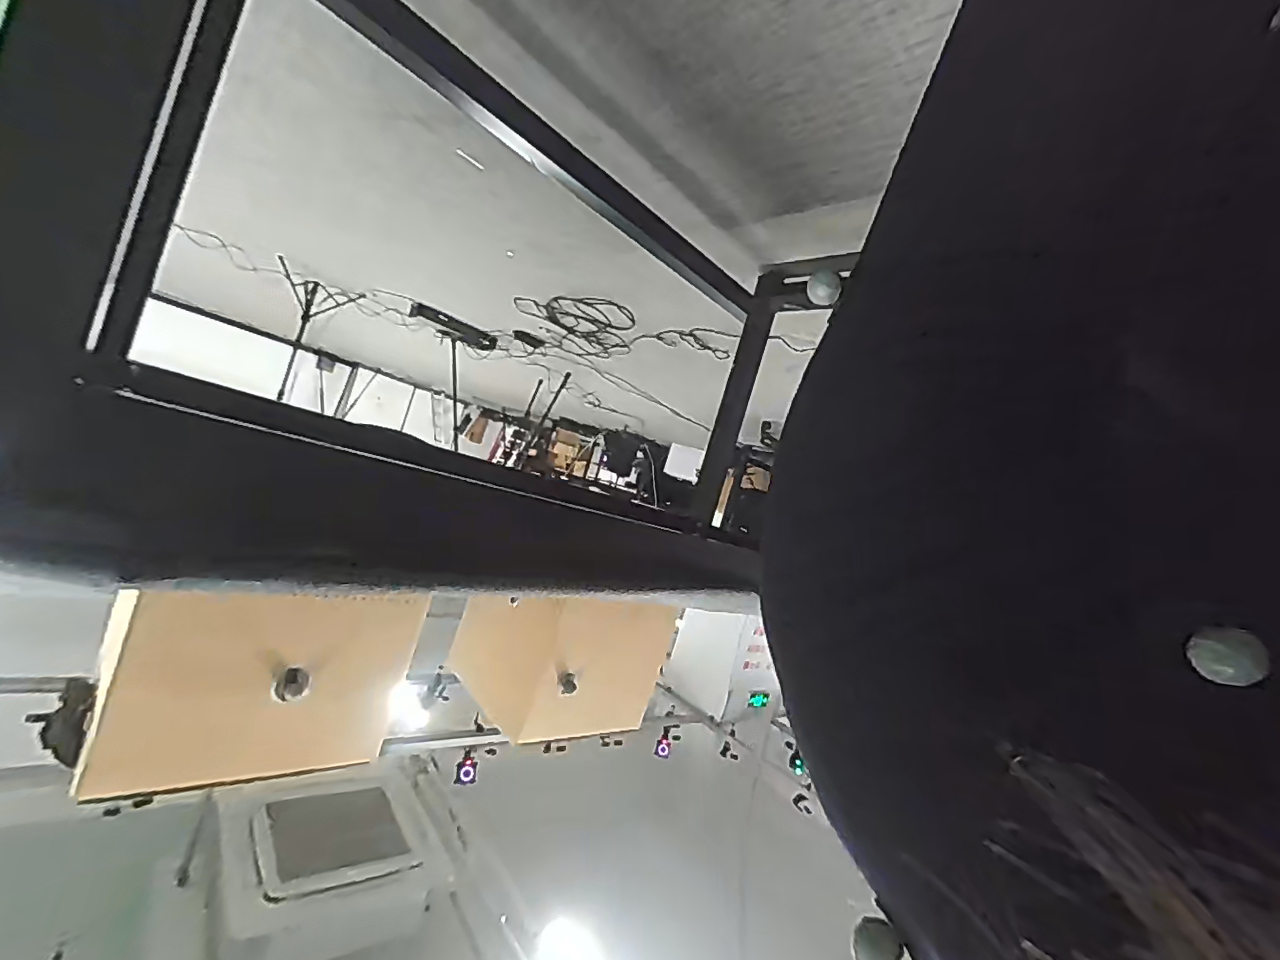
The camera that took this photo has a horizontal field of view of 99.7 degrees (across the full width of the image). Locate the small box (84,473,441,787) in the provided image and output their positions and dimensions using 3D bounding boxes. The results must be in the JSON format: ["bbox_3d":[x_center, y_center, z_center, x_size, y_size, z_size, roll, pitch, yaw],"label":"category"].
[{"bbox_3d":[-0.290,0.102,0.430,0.179,0.176,0.168,17,-177,-43],"label":"small box"}]
